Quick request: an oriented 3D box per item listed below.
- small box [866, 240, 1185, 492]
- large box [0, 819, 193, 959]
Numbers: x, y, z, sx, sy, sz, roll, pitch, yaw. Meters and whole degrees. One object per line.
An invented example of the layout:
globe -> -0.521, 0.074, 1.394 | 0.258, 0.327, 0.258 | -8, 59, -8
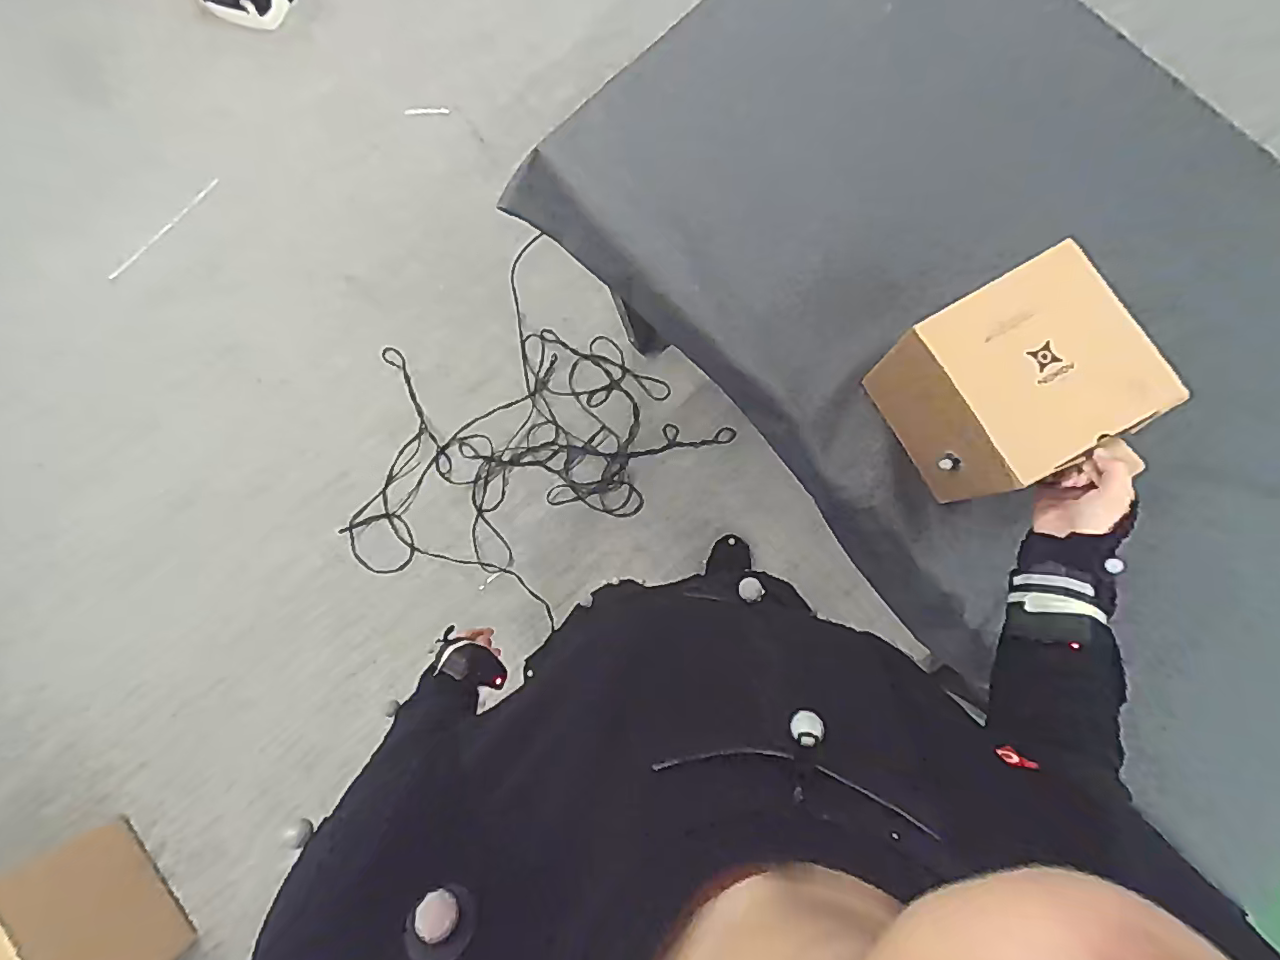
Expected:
small box -> 0.371, -0.099, 0.562 | 0.168, 0.176, 0.179 | -29, 80, 1
large box -> -1.426, 1.153, 1.311 | 0.320, 0.320, 0.408 | -43, 79, 0
